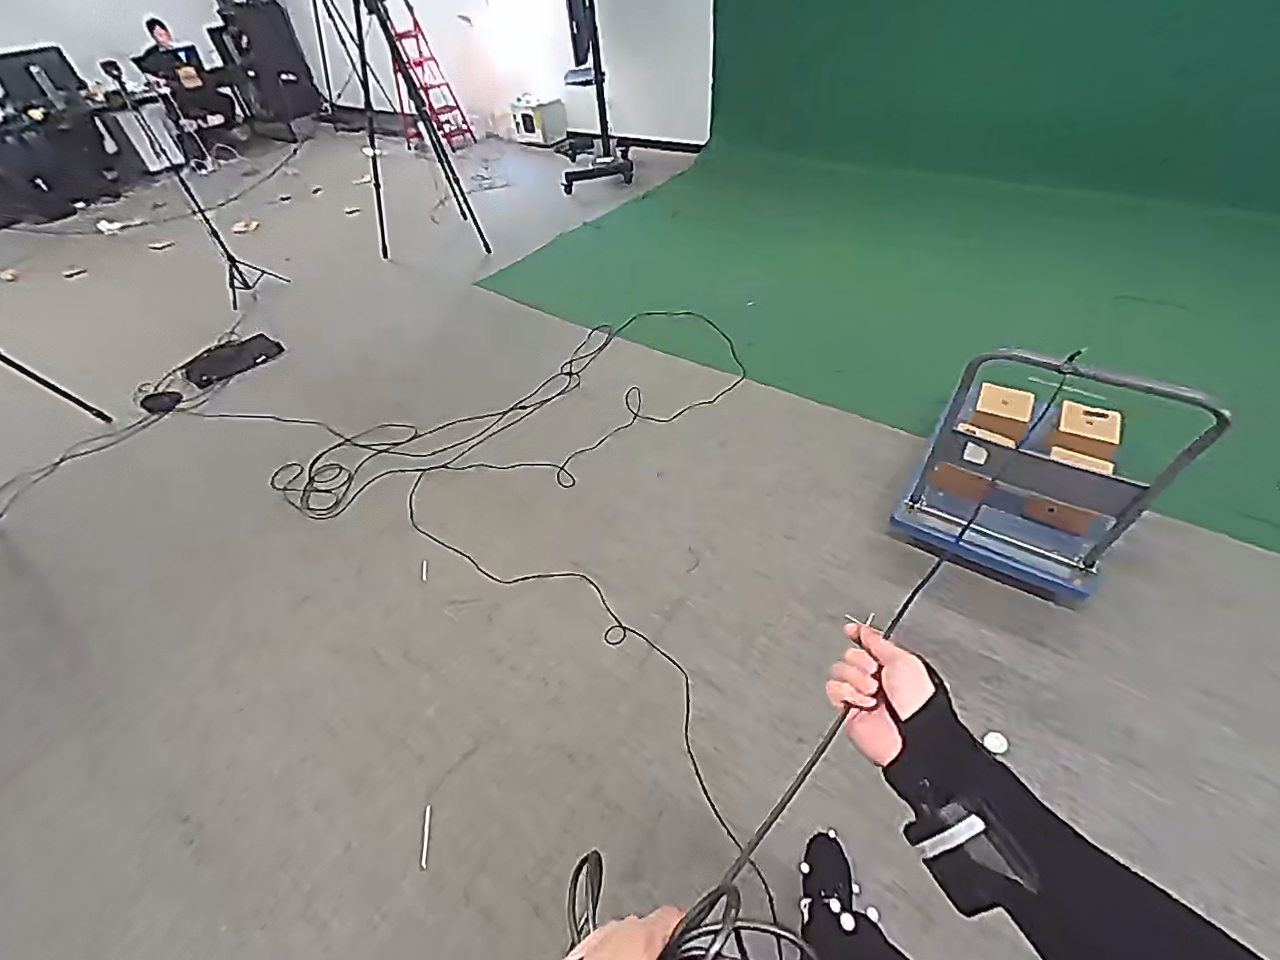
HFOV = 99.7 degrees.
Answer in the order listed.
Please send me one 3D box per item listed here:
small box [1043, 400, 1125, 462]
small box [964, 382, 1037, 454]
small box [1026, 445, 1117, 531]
[{"bbox_3d":[1.515,-0.142,1.851,0.168,0.176,0.179,21,53,26],"label":"small box"},{"bbox_3d":[1.301,-0.223,1.957,0.168,0.176,0.179,22,52,24],"label":"small box"},{"bbox_3d":[1.358,0.026,1.710,0.168,0.176,0.179,25,55,28],"label":"small box"}]
